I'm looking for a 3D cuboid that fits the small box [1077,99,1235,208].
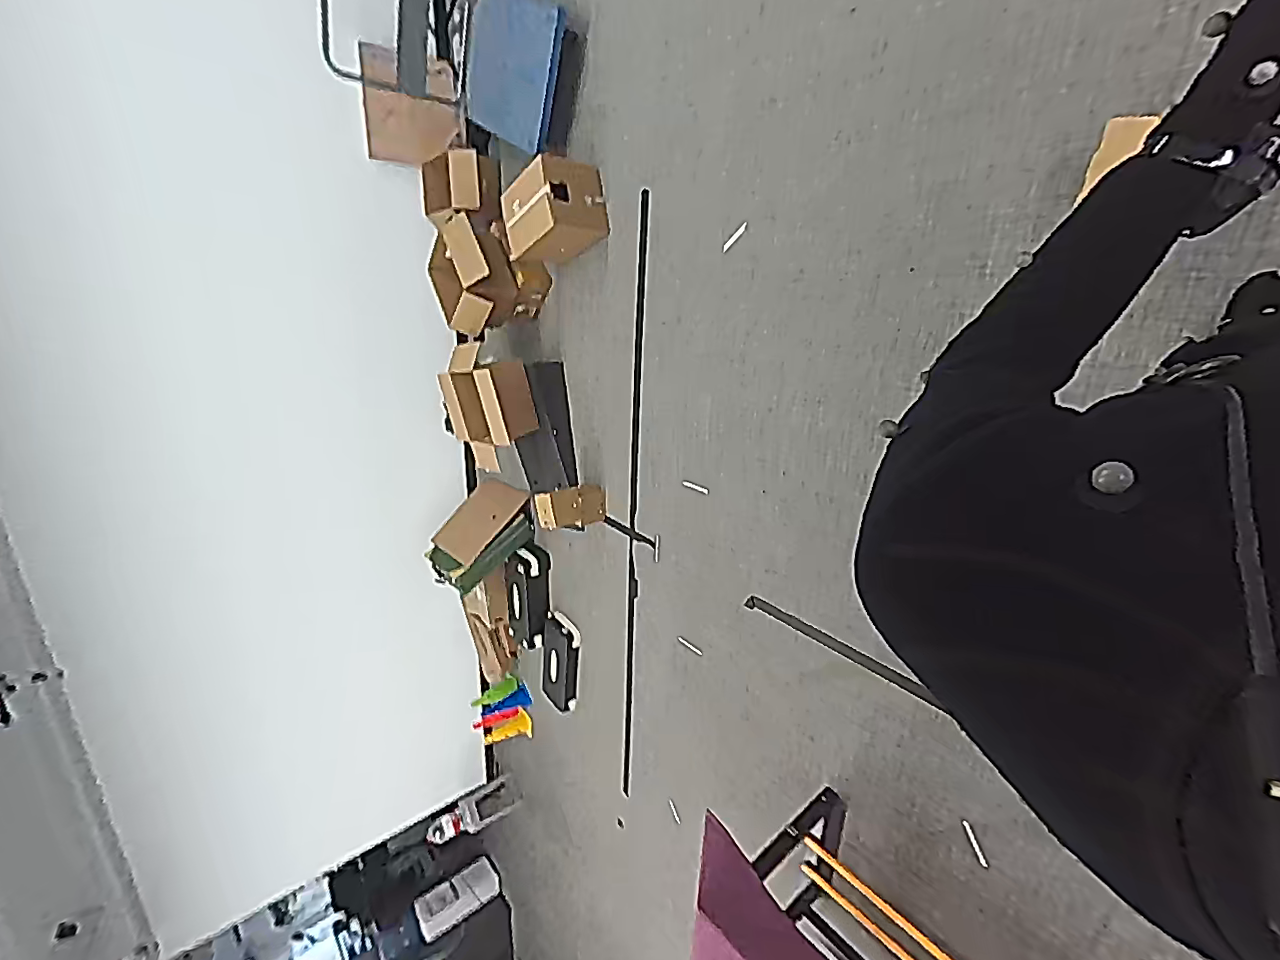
[{"bbox_3d":[1.046,-0.654,1.097,0.179,0.176,0.168,33,125,42],"label":"small box"}]
